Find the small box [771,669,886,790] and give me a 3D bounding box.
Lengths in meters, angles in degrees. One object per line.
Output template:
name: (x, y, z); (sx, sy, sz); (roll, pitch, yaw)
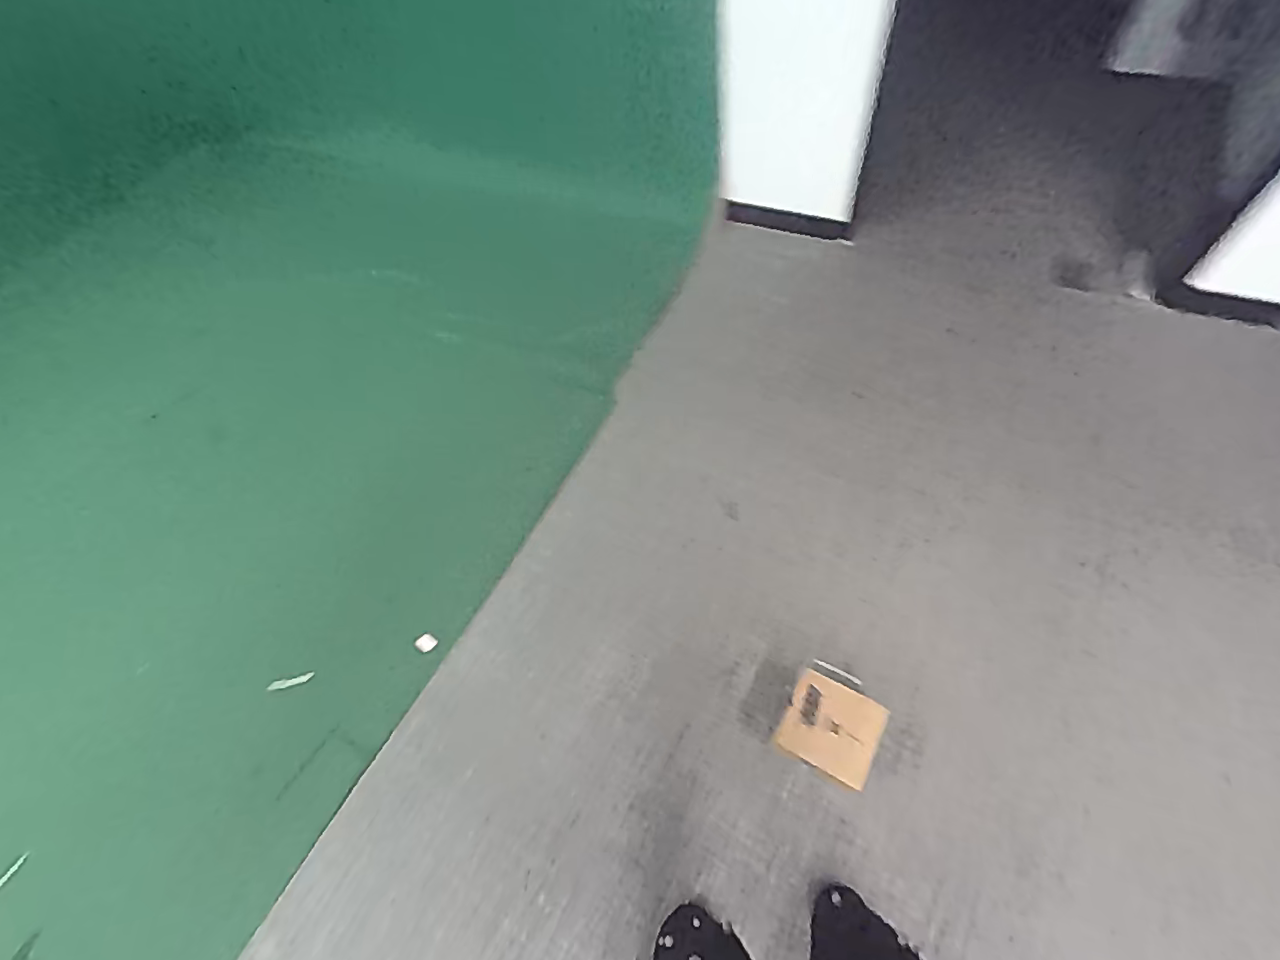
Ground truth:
small box: (0.390, 0.534, 1.148); (0.179, 0.176, 0.168); (24, 68, 21)
